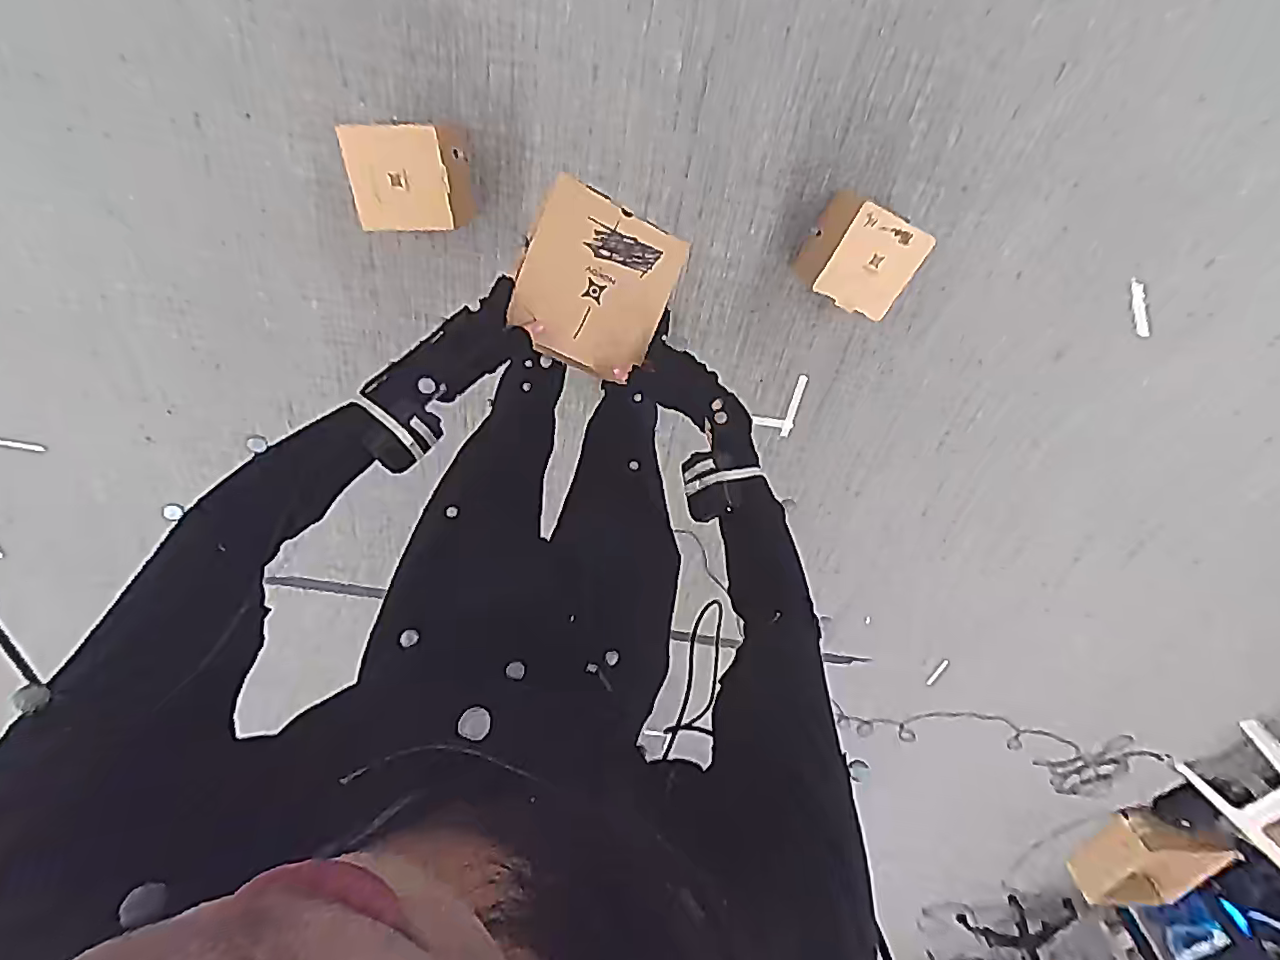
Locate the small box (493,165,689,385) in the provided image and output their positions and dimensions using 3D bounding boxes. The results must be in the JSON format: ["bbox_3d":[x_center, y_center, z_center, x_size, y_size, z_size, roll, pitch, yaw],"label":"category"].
[{"bbox_3d":[-0.072,-0.231,0.655,0.168,0.176,0.179,21,96,-21],"label":"small box"}]

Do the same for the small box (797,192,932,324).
[{"bbox_3d":[0.438,-0.453,1.095,0.168,0.176,0.179,21,122,-14],"label":"small box"}]

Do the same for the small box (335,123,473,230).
[{"bbox_3d":[-0.426,-0.573,1.017,0.179,0.176,0.168,0,123,1],"label":"small box"}]
